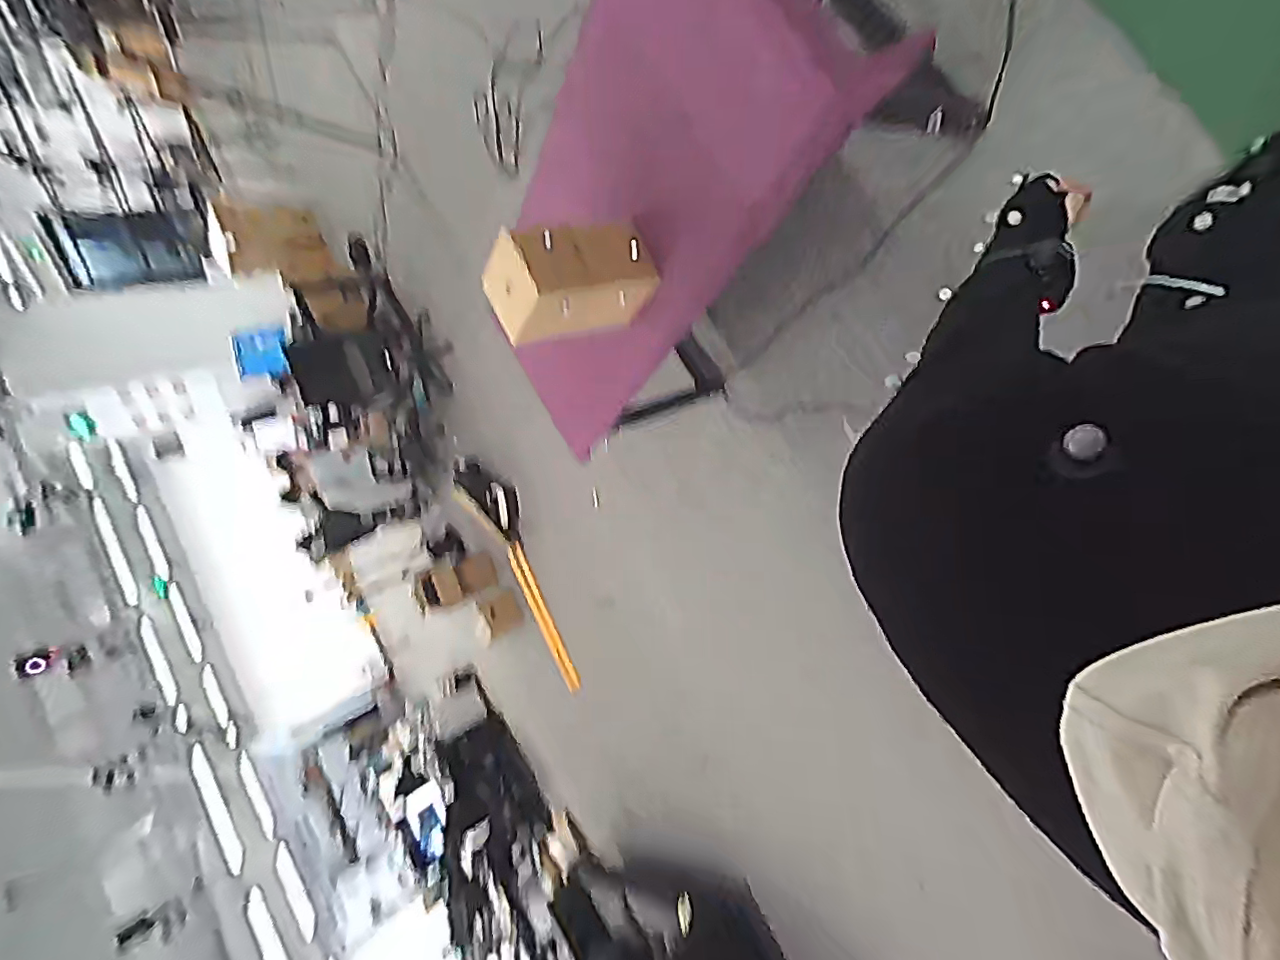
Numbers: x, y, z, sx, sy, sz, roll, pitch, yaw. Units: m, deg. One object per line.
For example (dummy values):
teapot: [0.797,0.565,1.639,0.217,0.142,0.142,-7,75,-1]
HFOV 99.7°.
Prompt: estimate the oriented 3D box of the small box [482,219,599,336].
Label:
small box: [-0.210,-0.438,1.166,0.179,0.176,0.168,-36,79,53]
